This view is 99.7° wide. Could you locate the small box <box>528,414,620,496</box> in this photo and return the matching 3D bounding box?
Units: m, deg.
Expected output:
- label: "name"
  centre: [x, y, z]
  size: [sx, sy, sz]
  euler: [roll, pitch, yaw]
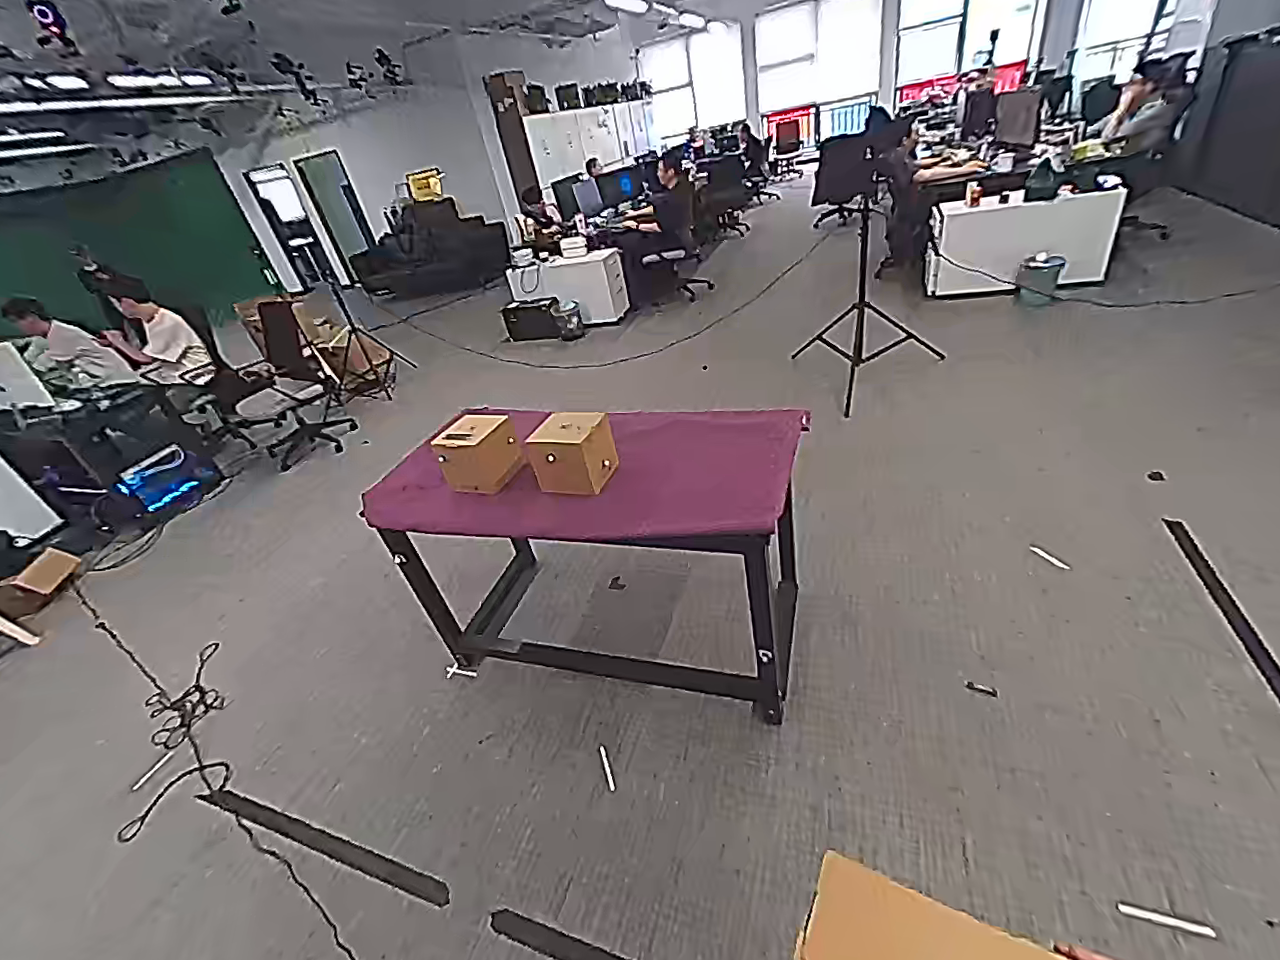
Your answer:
- label: "small box"
  centre: [-0.177, -0.070, 1.501]
  size: [0.179, 0.176, 0.168]
  euler: [4, 37, 24]
